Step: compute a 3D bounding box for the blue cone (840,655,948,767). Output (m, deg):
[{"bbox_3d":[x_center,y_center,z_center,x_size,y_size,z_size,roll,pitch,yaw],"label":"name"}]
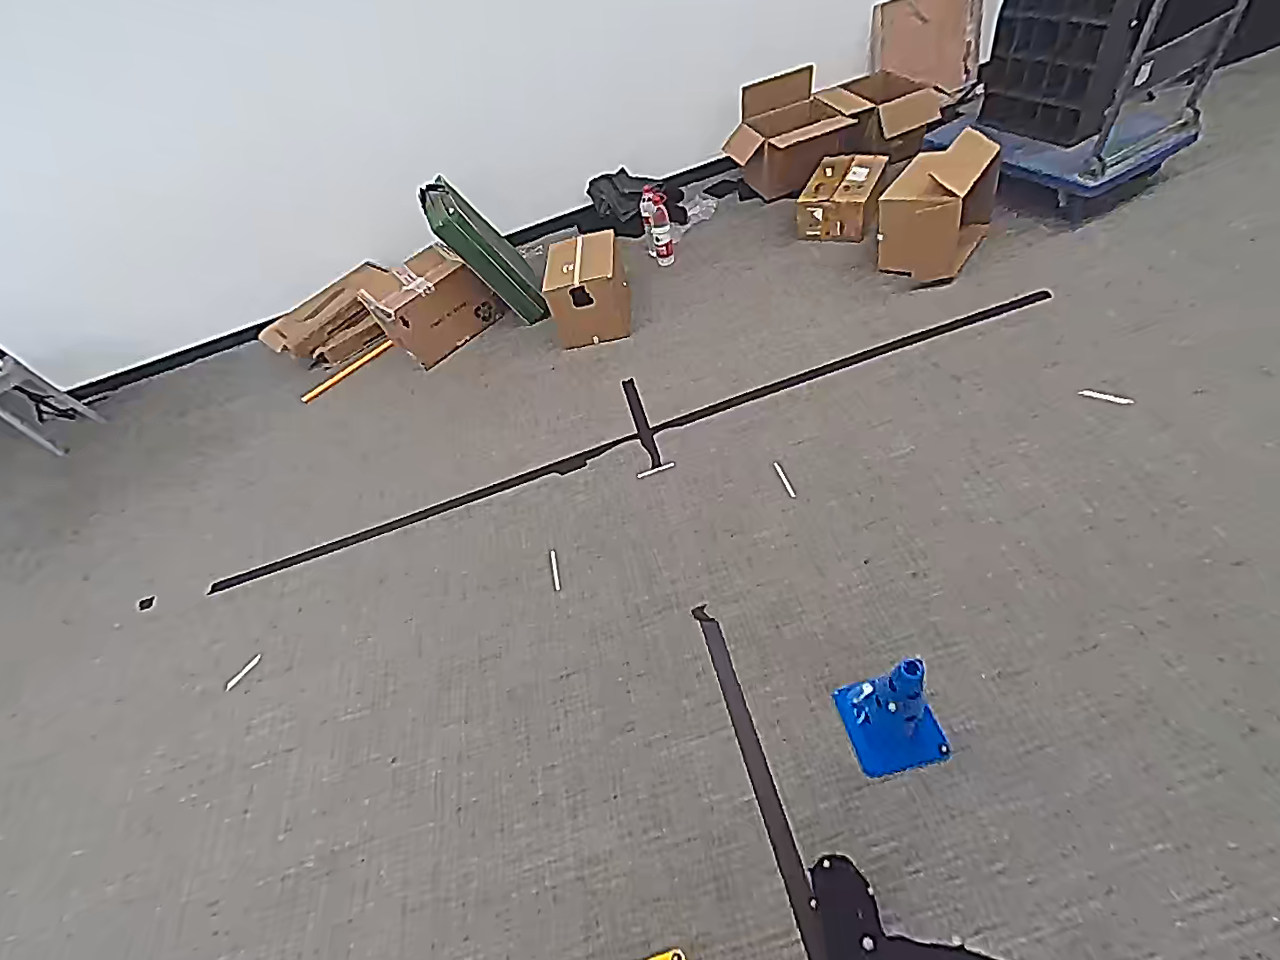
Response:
[{"bbox_3d":[0.548,0.456,1.138,0.192,0.380,0.193,-15,49,3],"label":"blue cone"}]
